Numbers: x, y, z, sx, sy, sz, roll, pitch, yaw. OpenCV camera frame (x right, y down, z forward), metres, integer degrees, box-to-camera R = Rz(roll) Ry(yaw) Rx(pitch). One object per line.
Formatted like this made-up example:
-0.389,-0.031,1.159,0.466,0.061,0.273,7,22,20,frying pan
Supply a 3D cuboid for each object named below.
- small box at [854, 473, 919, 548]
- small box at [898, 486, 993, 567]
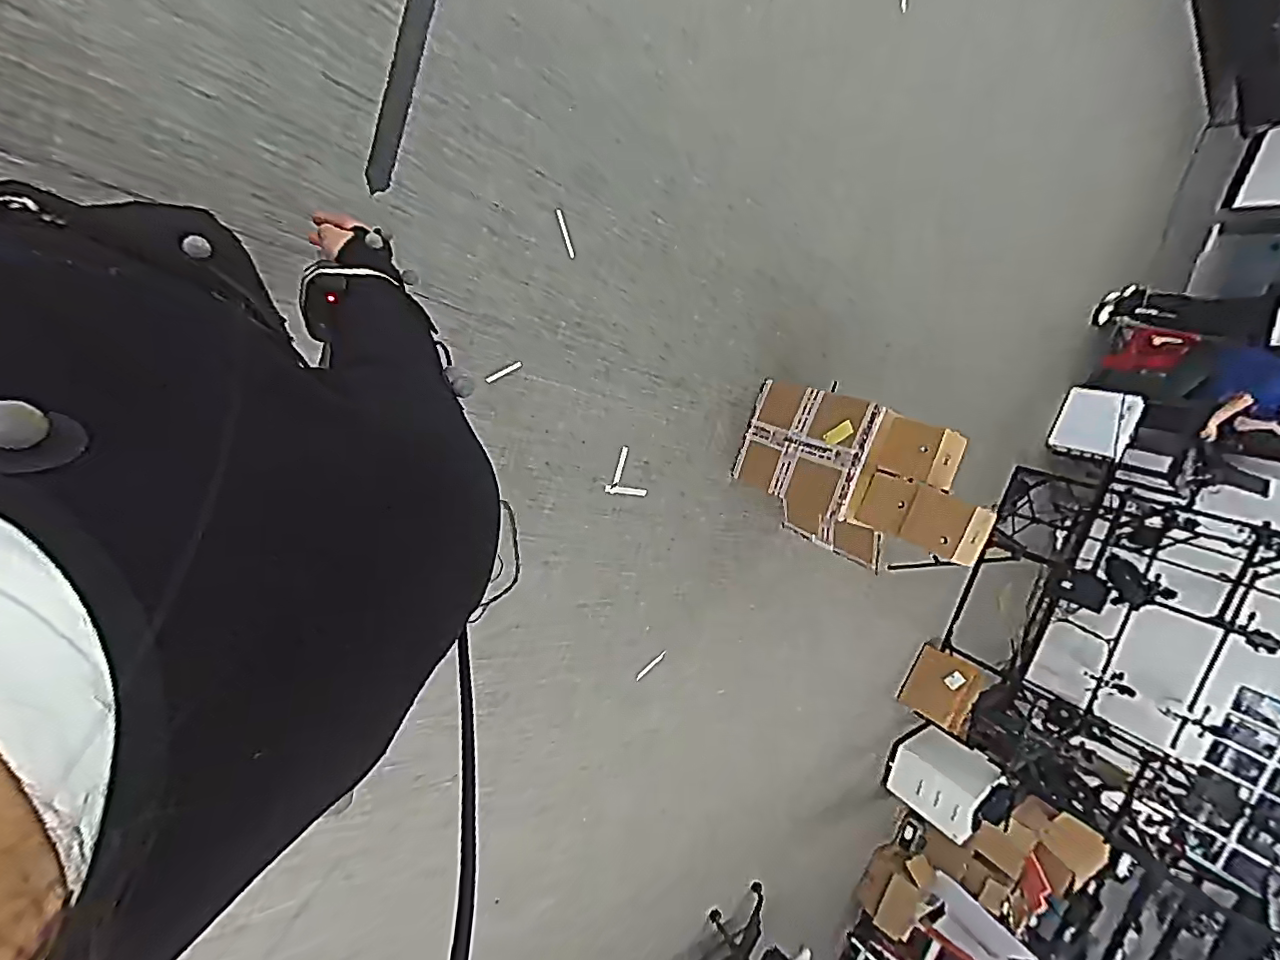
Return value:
0.829,0.095,1.755,0.168,0.176,0.179,19,97,-39,small box
0.904,0.139,1.613,0.168,0.176,0.179,15,99,-39,small box
